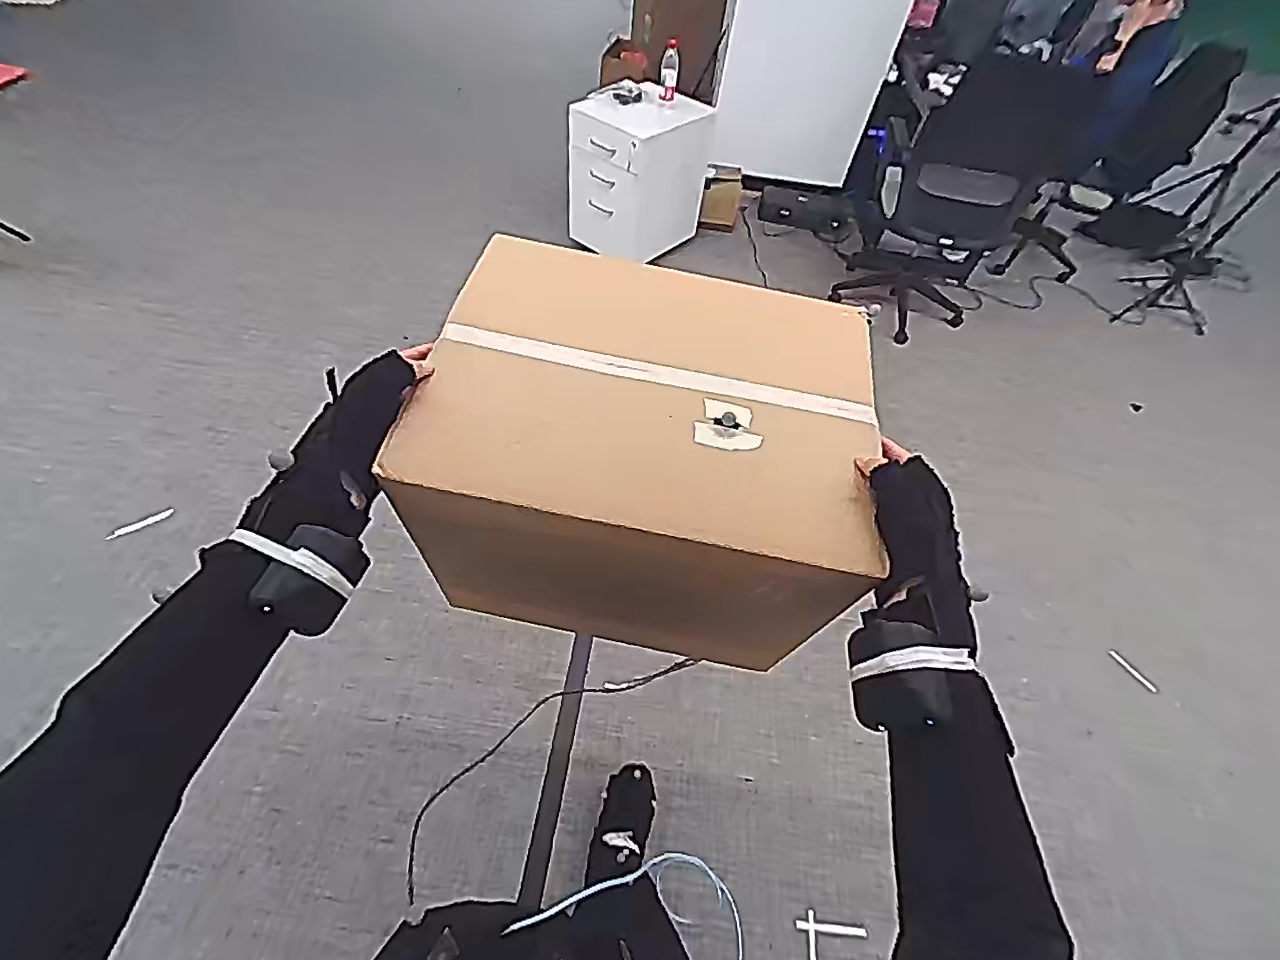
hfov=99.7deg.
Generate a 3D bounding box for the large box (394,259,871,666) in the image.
[{"bbox_3d":[-0.001,-0.003,0.640,0.408,0.320,0.320,12,58,0],"label":"large box"}]
